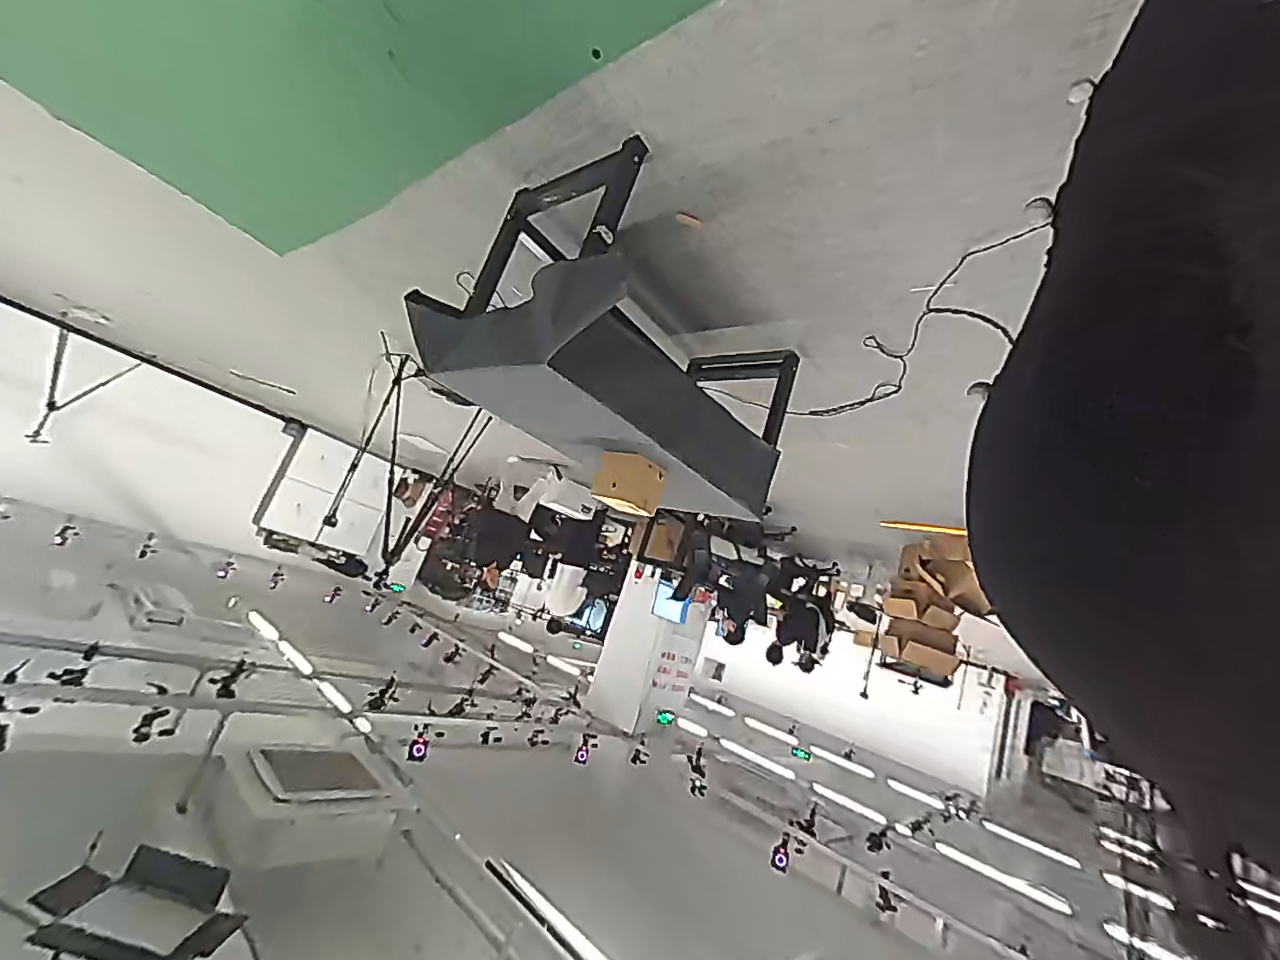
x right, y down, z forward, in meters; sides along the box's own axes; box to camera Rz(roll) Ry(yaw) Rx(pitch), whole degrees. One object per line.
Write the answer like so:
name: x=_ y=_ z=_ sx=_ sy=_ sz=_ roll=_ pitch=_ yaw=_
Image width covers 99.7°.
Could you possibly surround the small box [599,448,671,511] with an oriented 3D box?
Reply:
small box: x=-0.010 y=-0.005 z=1.889 sx=0.179 sy=0.176 sz=0.168 roll=8 pitch=163 yaw=43
